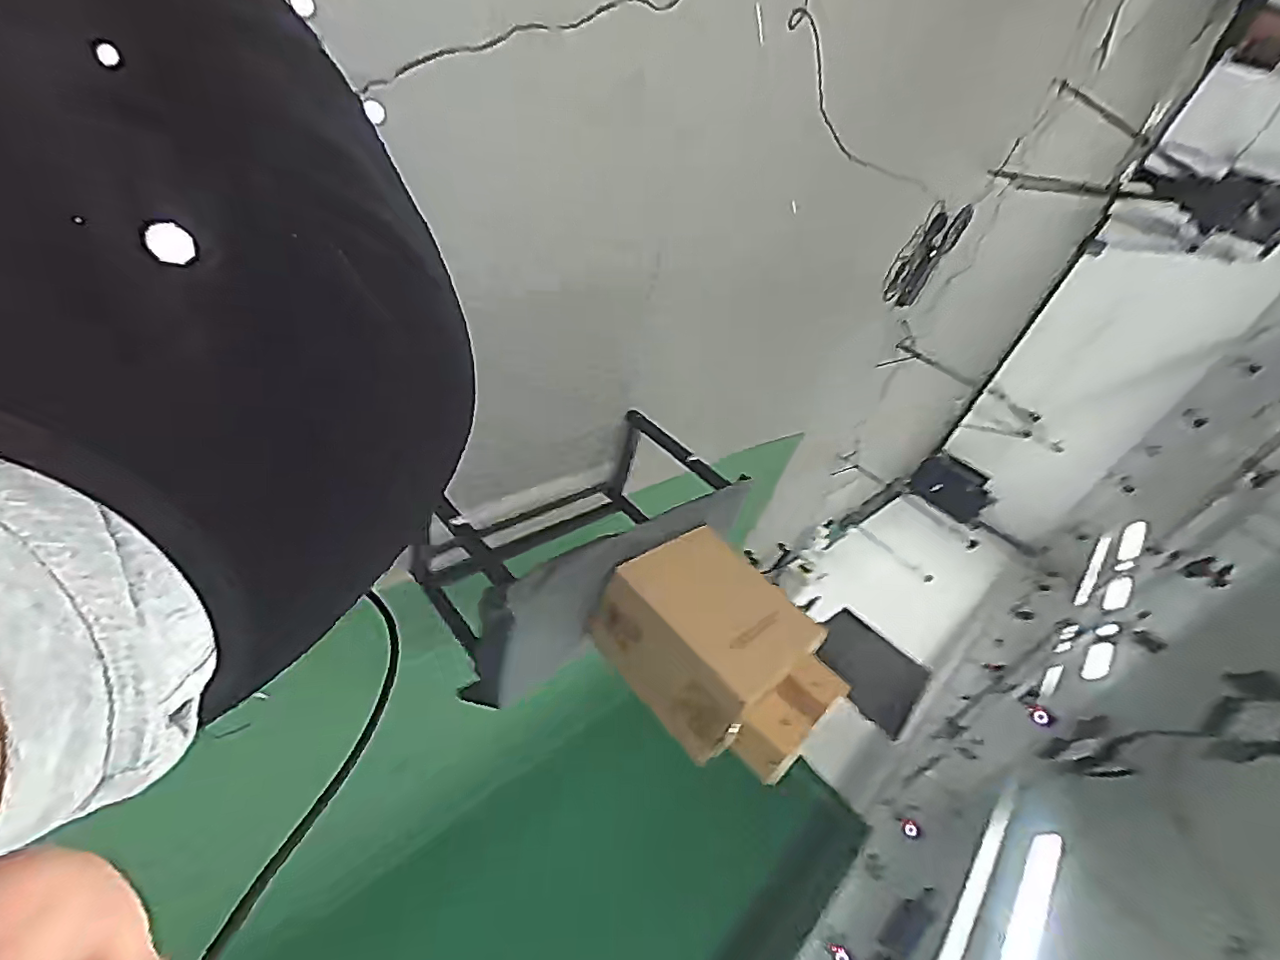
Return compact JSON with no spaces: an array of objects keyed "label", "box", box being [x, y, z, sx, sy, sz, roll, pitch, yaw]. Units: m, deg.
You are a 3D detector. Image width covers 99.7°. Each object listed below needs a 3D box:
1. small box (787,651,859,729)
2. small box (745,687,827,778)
[{"label":"small box","box":[0.647,0.743,1.941,0.168,0.176,0.179,-16,133,-45]},{"label":"small box","box":[0.473,0.815,1.765,0.179,0.176,0.168,-23,136,-44]}]
